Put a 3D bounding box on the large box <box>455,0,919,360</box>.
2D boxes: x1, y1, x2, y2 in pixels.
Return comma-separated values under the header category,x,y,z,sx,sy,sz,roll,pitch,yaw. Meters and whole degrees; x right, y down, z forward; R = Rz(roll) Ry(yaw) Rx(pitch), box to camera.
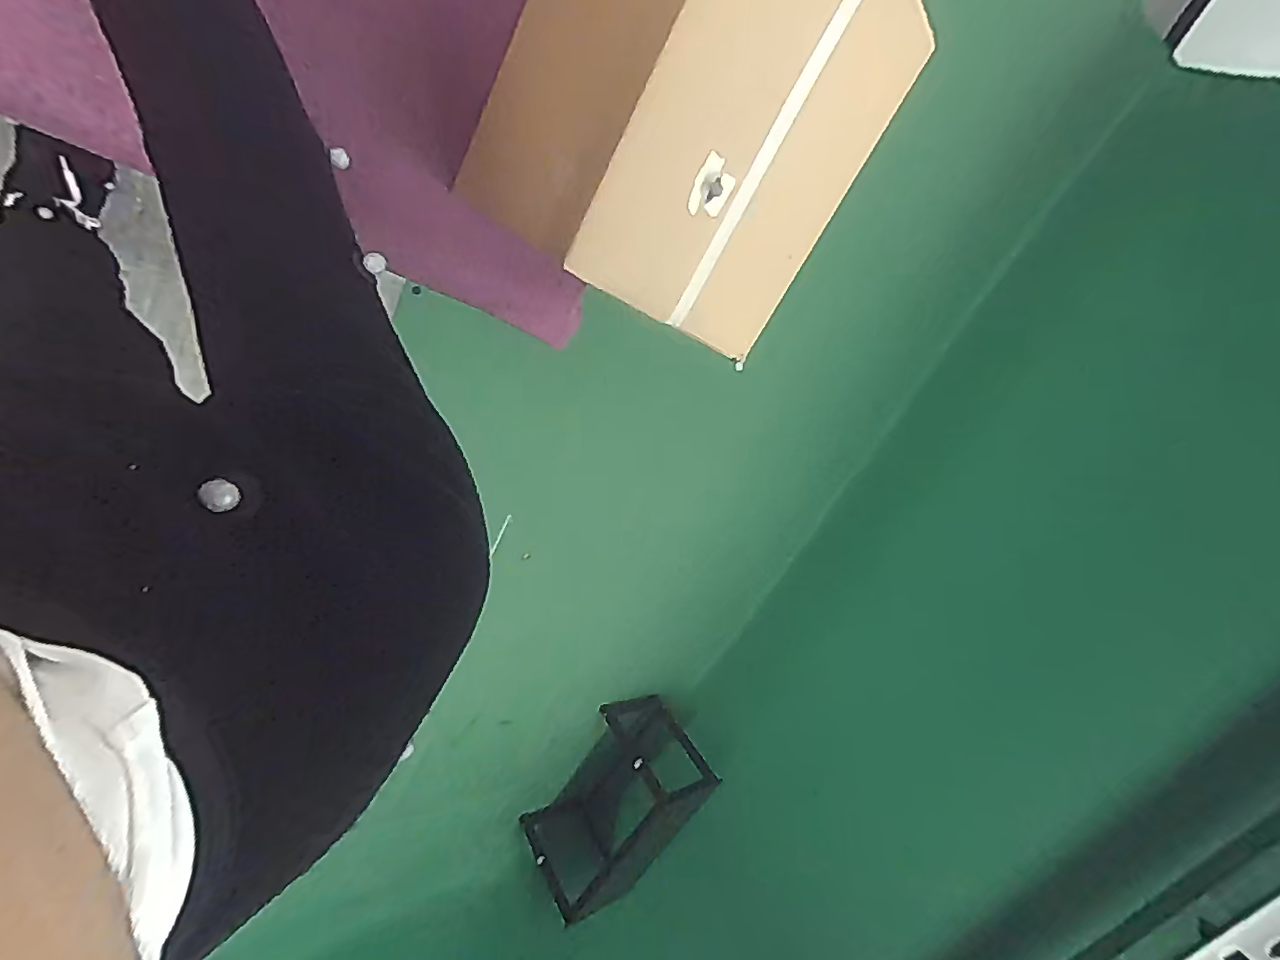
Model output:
category,x,y,z,sx,sy,sz,roll,pitch,yaw
large box,0.037,-0.424,0.649,0.320,0.320,0.408,11,117,-46
